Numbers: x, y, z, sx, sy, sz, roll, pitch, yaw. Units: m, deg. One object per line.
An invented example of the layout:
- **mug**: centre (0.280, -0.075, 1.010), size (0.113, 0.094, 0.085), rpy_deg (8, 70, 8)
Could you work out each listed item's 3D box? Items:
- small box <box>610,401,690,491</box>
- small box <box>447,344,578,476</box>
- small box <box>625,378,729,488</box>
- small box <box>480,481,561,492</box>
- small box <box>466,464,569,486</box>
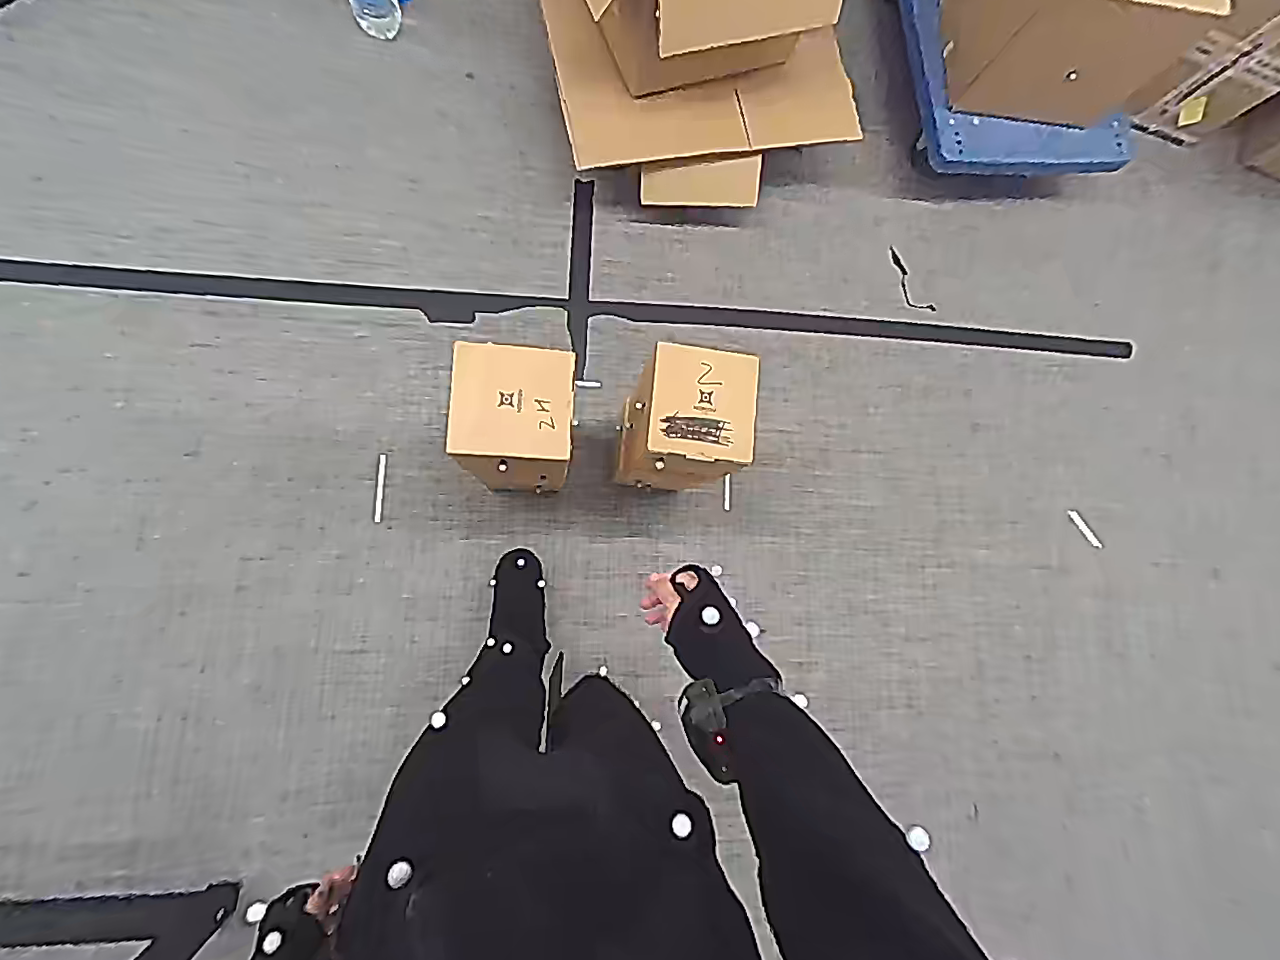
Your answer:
- **small box**: centre (0.036, -0.069, 1.221), size (0.179, 0.176, 0.168), rpy_deg (7, 82, -9)
- **small box**: centre (-0.194, -0.100, 0.852), size (0.179, 0.176, 0.168), rpy_deg (3, 83, -11)
- **small box**: centre (0.066, -0.082, 1.059), size (0.168, 0.176, 0.179), rpy_deg (6, 81, -9)
- **small box**: centre (-0.252, -0.069, 1.173), size (0.168, 0.176, 0.179), rpy_deg (1, 82, -10)
- **small box**: centre (-0.221, -0.080, 1.014), size (0.179, 0.176, 0.168), rpy_deg (3, 83, -10)
